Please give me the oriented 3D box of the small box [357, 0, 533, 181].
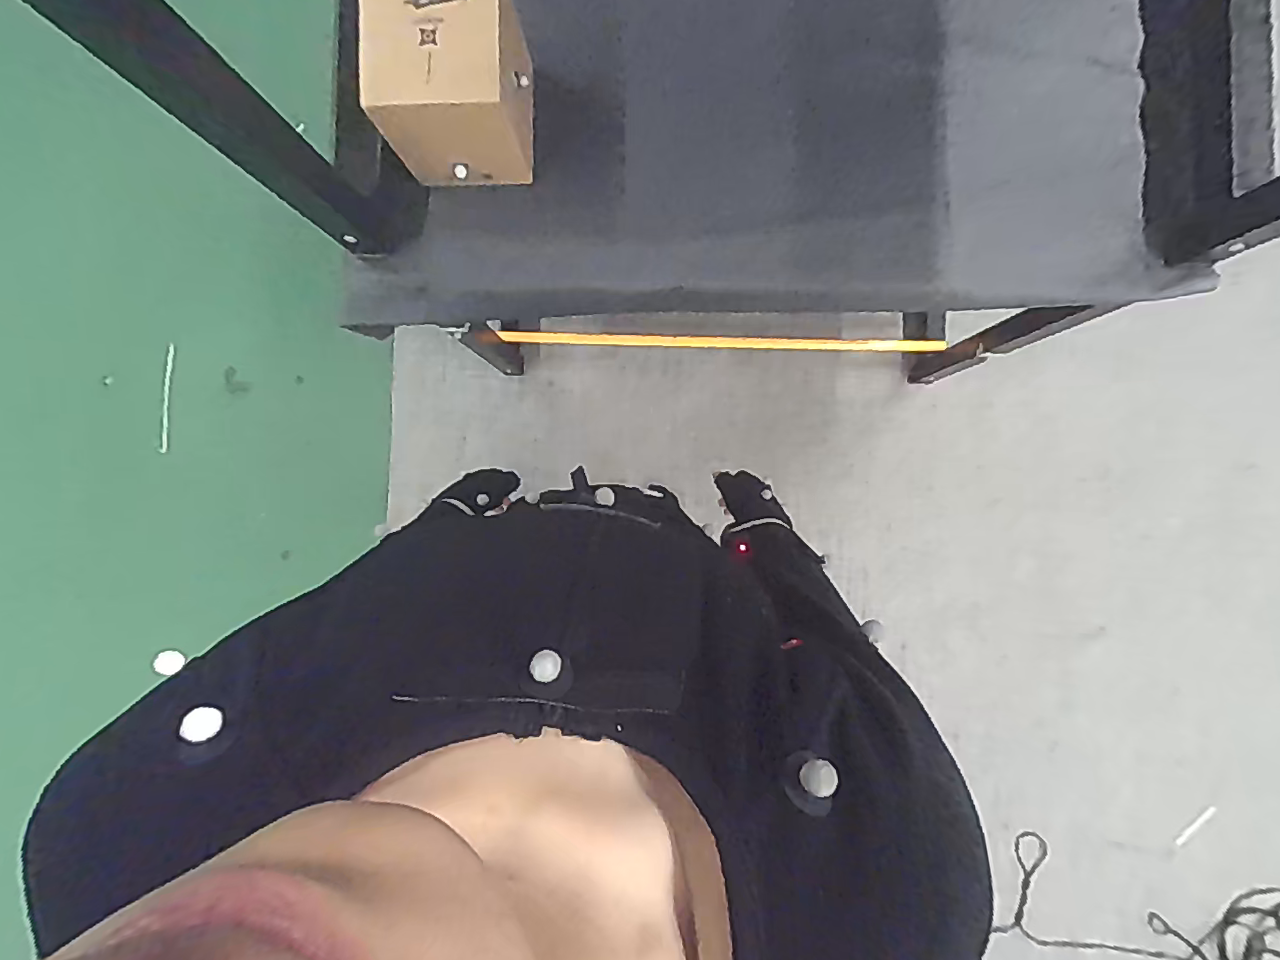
[{"bbox_3d":[-0.237,-0.517,0.694,0.168,0.176,0.179,-1,89,2],"label":"small box"}]
